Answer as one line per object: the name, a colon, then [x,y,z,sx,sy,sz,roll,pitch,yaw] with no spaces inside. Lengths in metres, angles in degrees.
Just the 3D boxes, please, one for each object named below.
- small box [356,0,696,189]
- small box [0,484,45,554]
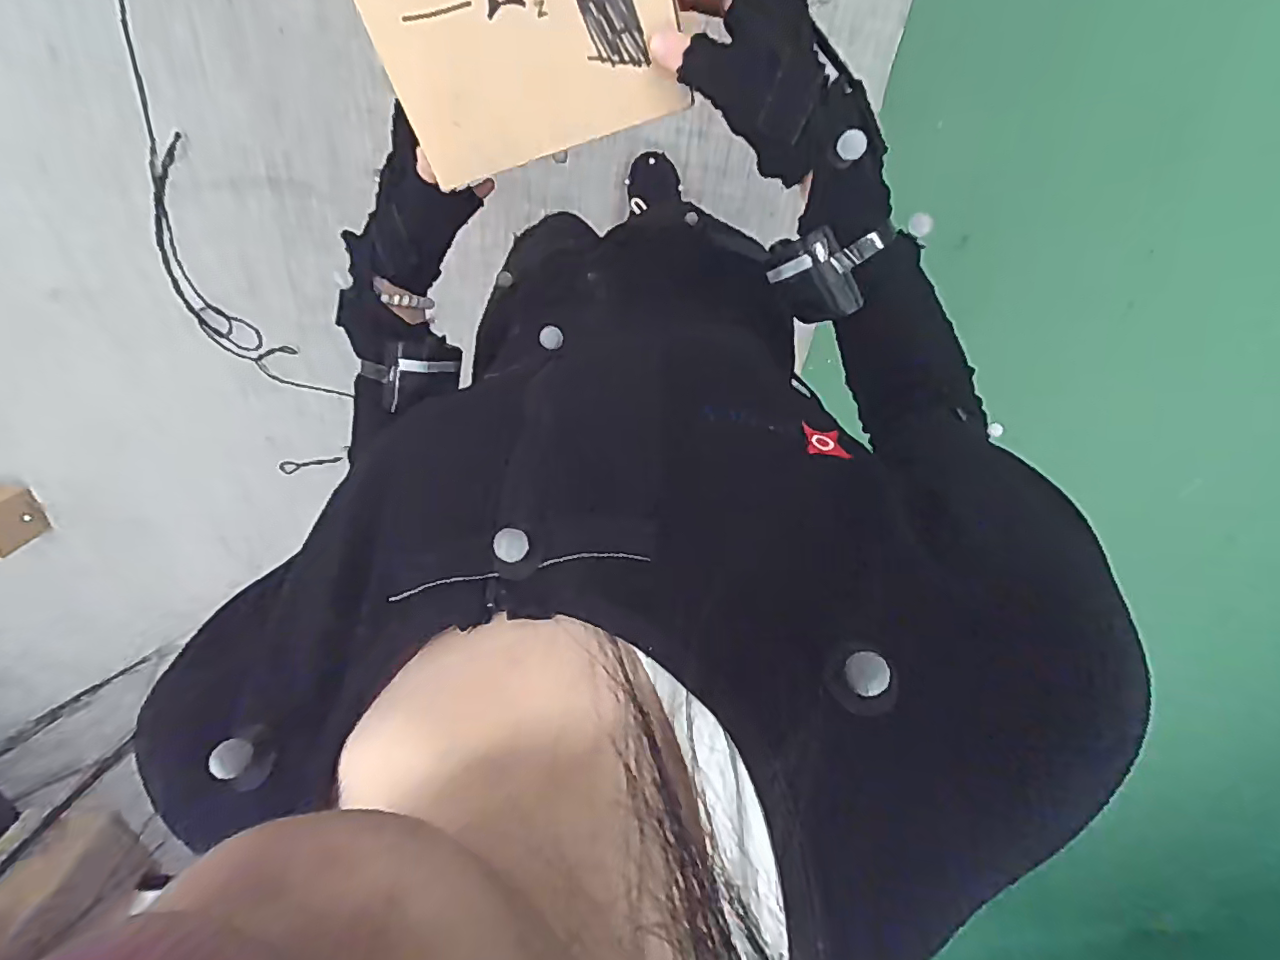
small box: [-0.077,-0.322,0.357,0.179,0.176,0.168,-16,129,5]
small box: [-2.020,0.118,1.657,0.179,0.176,0.168,5,123,-2]
